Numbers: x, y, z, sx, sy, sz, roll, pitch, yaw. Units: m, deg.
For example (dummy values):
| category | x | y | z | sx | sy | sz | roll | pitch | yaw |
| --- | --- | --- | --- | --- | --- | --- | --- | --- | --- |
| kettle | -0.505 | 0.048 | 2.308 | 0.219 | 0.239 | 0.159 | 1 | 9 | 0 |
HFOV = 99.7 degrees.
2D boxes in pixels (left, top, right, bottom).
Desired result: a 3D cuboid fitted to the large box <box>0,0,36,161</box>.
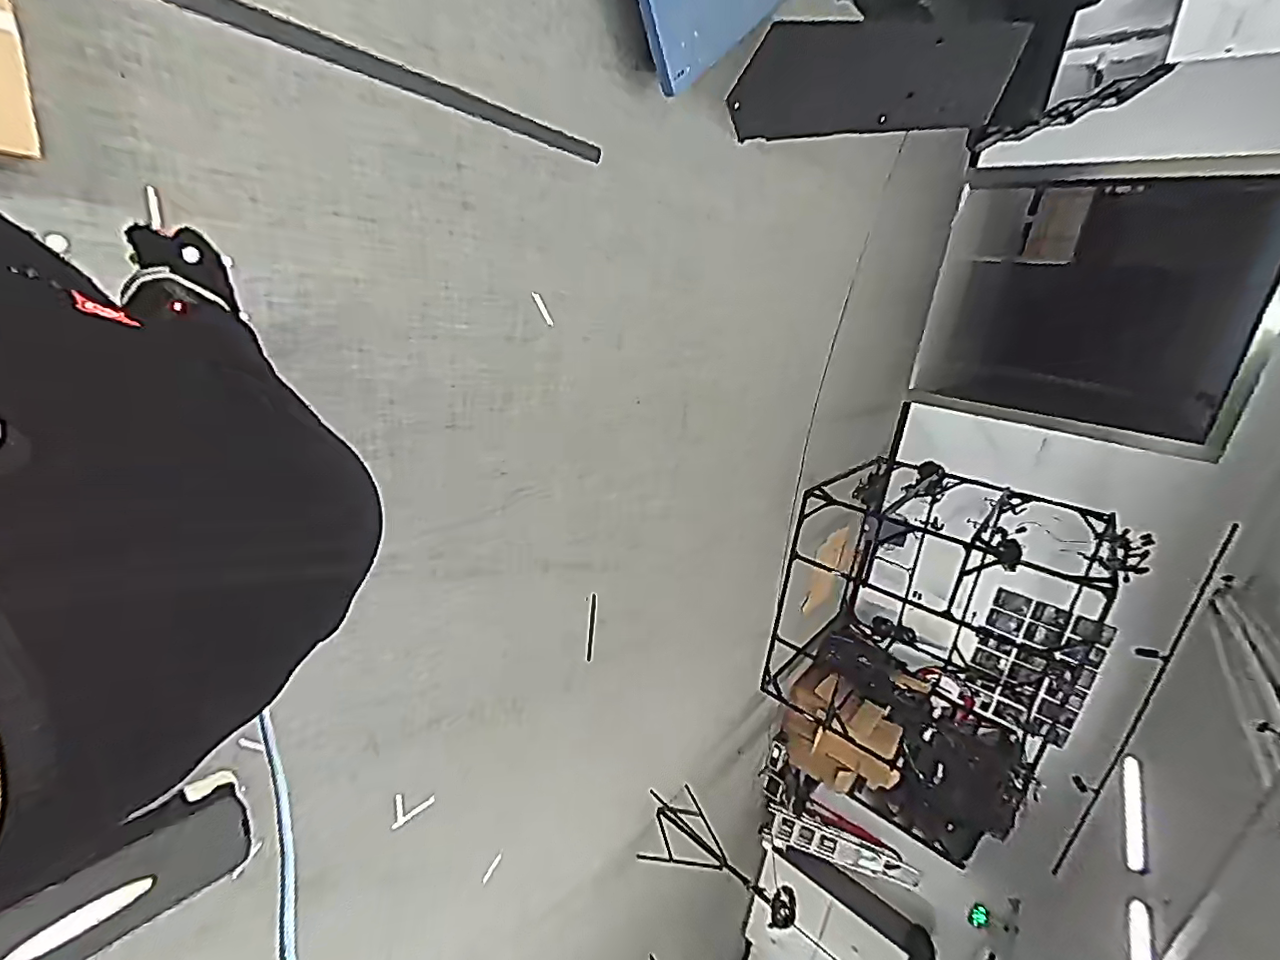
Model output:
| category | x | y | z | sx | sy | sz | roll | pitch | yaw |
| --- | --- | --- | --- | --- | --- | --- | --- | --- | --- |
| large box | -1.067 | -0.608 | 0.641 | 0.408 | 0.320 | 0.320 | -16 | 120 | -51 |
